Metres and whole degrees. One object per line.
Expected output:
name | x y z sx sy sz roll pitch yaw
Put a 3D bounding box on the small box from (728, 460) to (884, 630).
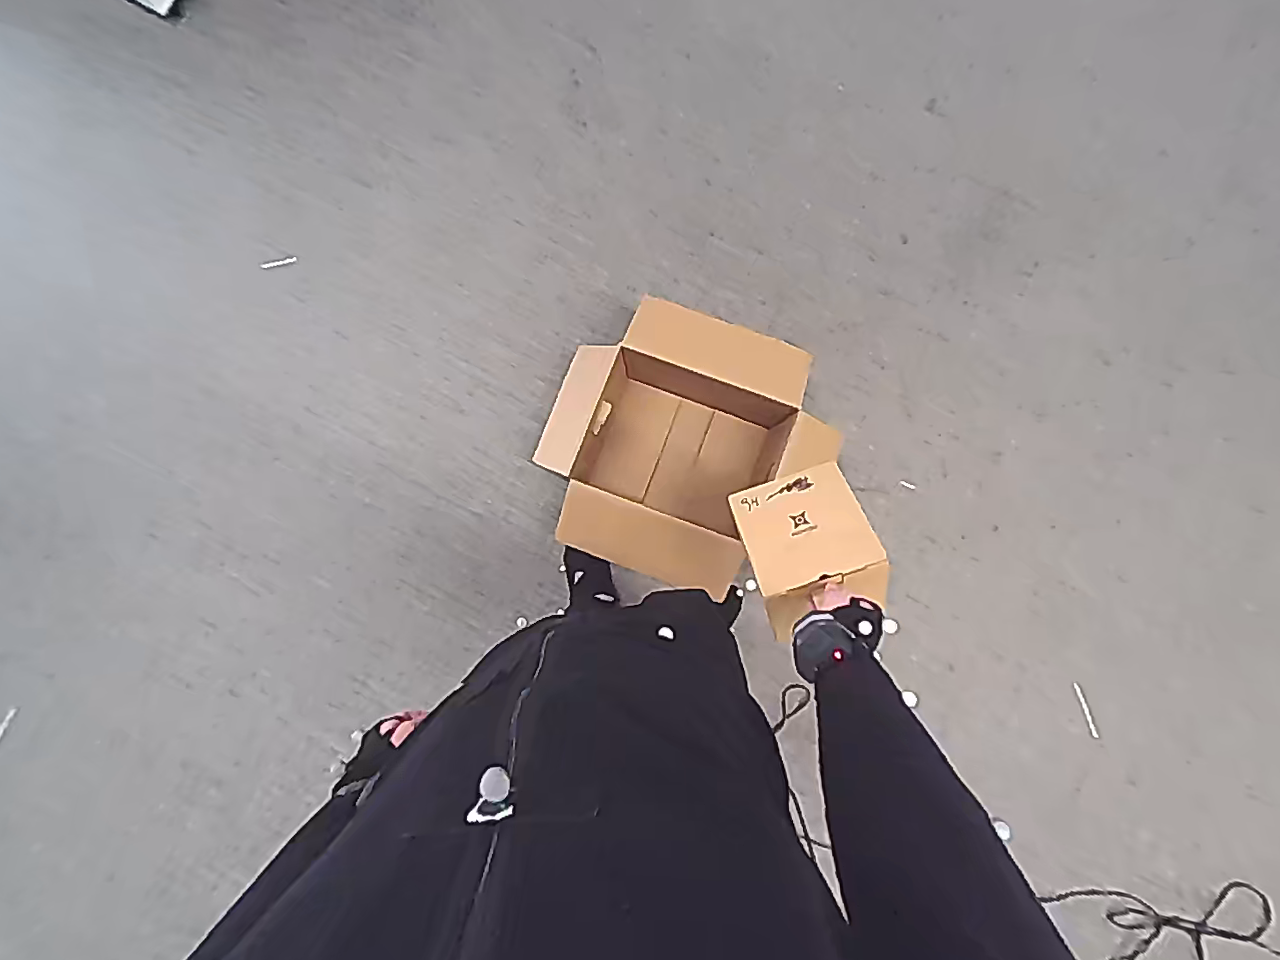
small box | 0.244 0.106 0.800 0.168 0.176 0.179 -18 50 7
